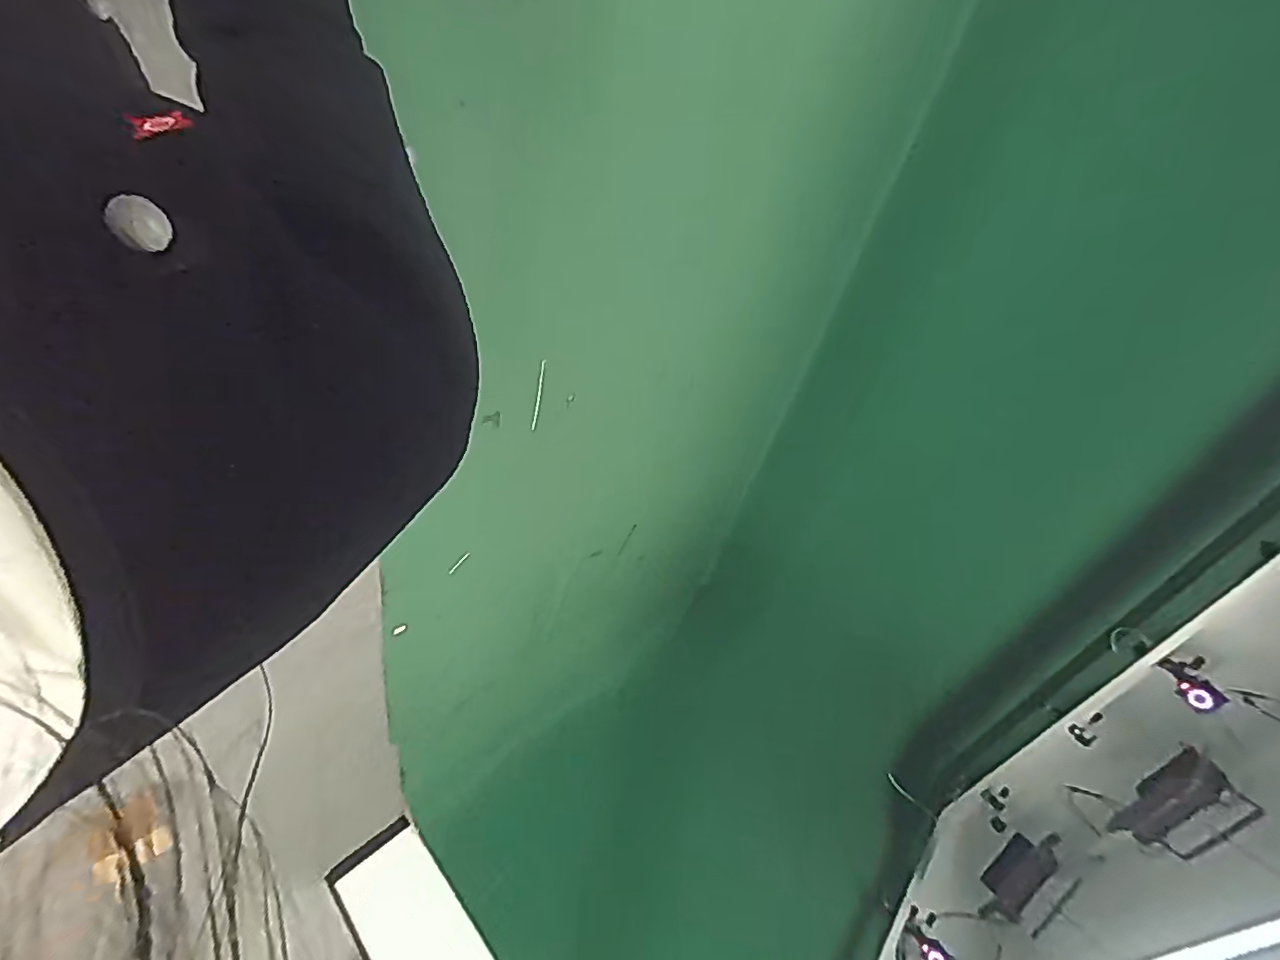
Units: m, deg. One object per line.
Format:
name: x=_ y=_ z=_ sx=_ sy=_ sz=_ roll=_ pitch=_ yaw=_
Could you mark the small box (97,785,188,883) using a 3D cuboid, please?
small box: x=-1.645 y=1.163 z=1.784 sx=0.179 sy=0.176 sz=0.168 roll=-26 pitch=143 yaw=-44
